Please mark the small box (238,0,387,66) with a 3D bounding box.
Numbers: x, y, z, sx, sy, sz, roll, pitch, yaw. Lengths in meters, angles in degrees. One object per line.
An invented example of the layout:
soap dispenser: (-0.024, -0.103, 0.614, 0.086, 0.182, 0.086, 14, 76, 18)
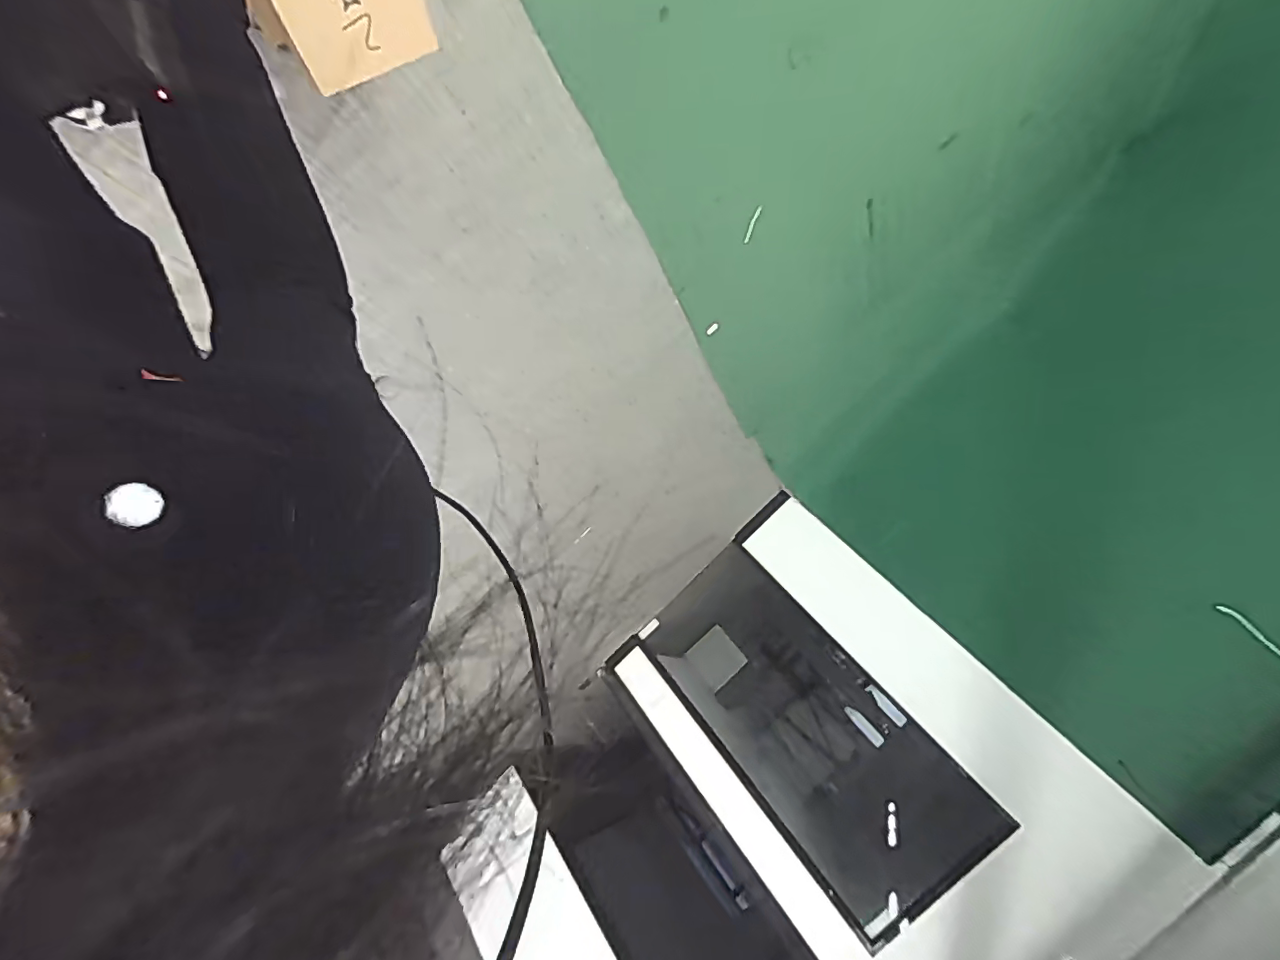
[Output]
small box: (-0.488, -0.719, 0.730, 0.168, 0.176, 0.179, -39, 151, -5)
